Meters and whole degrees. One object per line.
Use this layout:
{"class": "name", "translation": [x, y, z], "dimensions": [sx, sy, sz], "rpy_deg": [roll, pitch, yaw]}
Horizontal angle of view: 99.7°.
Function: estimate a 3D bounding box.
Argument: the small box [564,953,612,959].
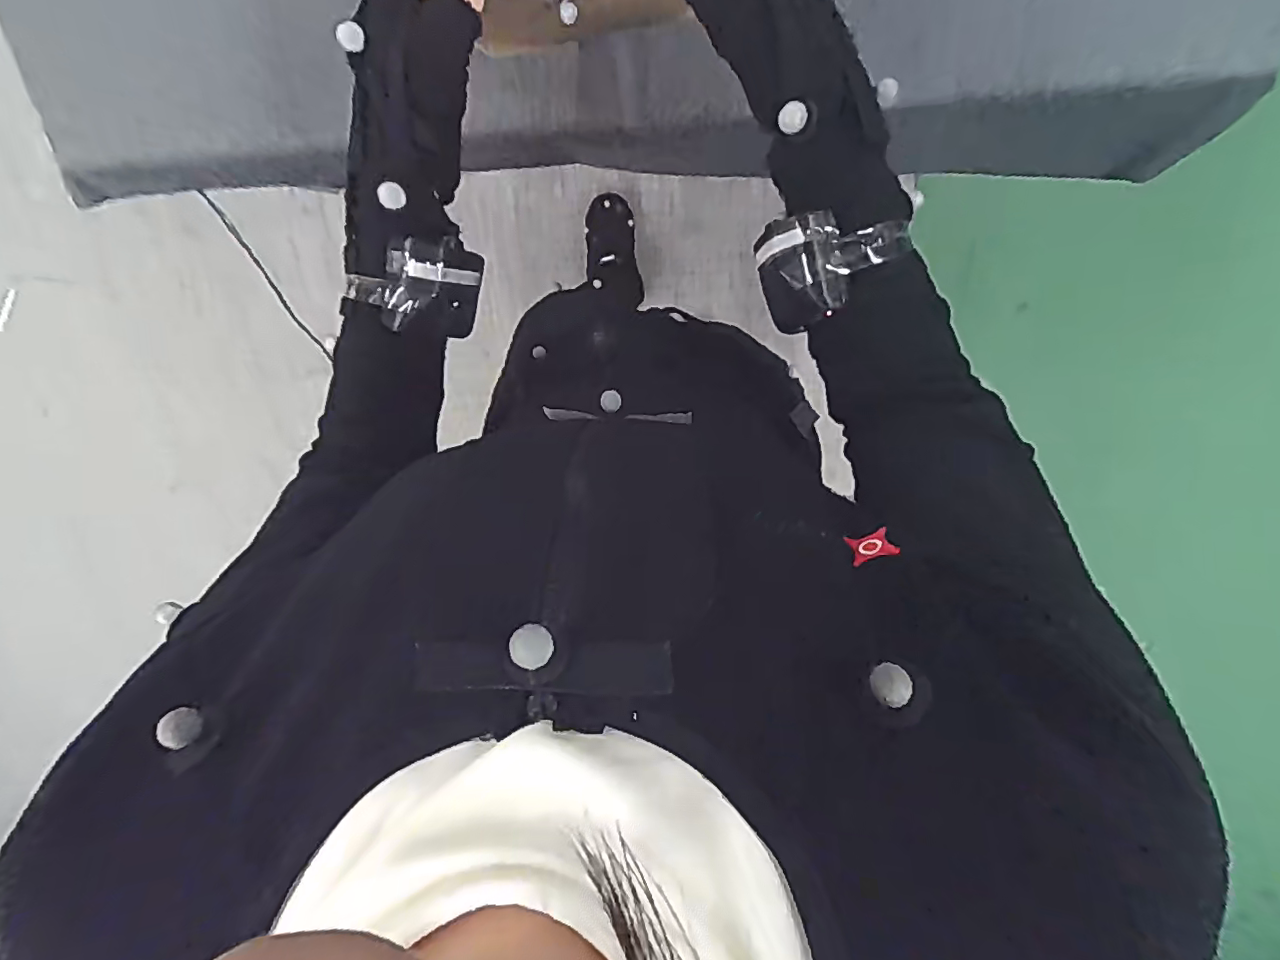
{"class": "small box", "translation": [-0.176, 1.697, 1.773], "dimensions": [0.179, 0.176, 0.168], "rpy_deg": [-12, 111, 9]}
